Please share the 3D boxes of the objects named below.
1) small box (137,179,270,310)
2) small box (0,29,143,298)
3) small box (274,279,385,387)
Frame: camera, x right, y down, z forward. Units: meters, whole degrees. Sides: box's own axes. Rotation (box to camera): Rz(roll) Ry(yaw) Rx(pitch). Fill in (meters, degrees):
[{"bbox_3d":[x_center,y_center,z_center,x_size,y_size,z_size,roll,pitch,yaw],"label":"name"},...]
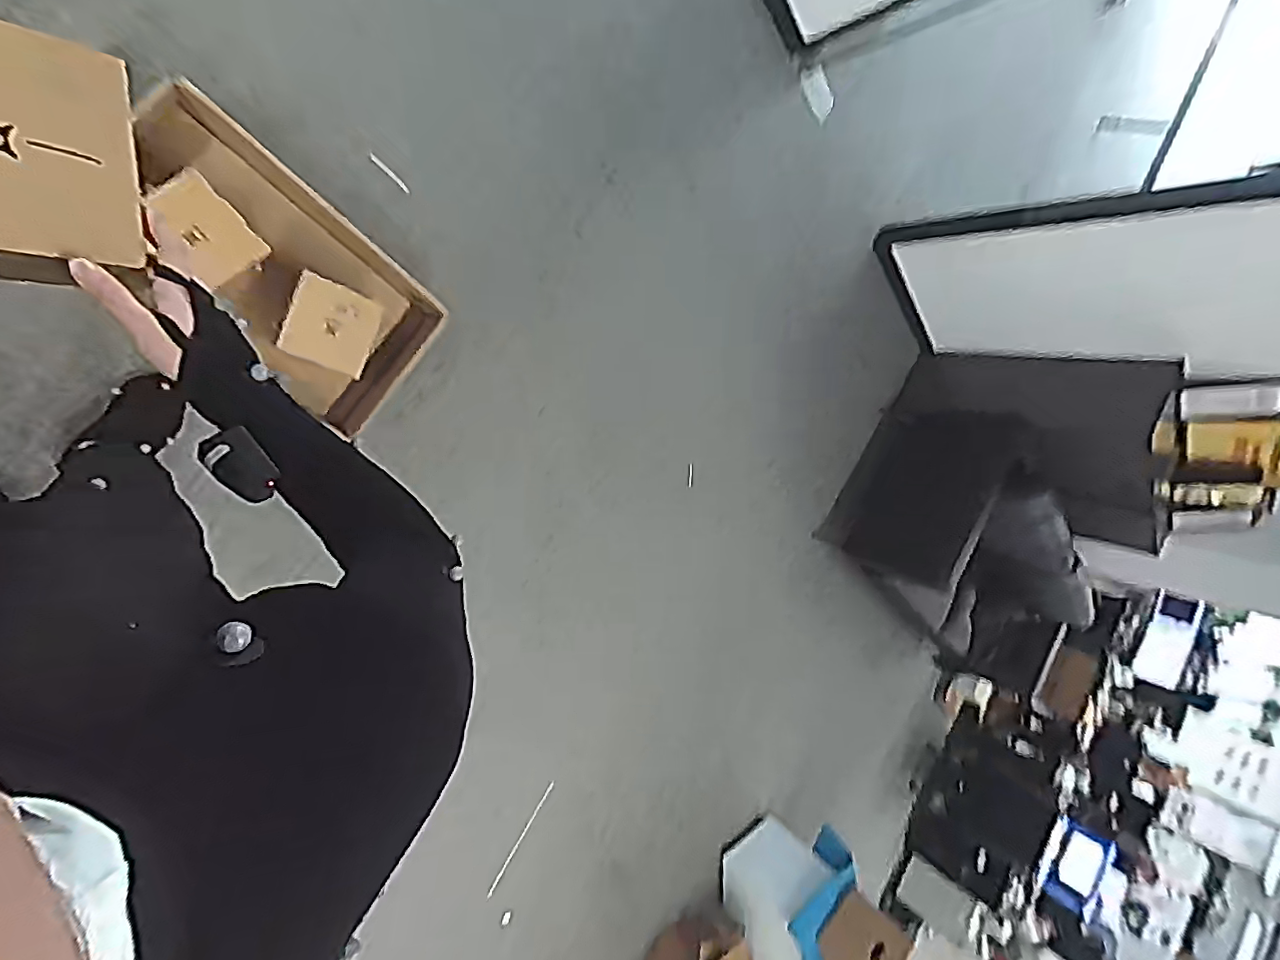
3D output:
[{"bbox_3d":[-0.872,-0.452,1.062,0.179,0.176,0.168,-49,127,-19],"label":"small box"},{"bbox_3d":[-0.537,-0.253,0.446,0.179,0.176,0.168,-7,101,-42],"label":"small box"},{"bbox_3d":[-0.708,-0.329,1.225,0.168,0.176,0.179,22,88,-40],"label":"small box"}]
